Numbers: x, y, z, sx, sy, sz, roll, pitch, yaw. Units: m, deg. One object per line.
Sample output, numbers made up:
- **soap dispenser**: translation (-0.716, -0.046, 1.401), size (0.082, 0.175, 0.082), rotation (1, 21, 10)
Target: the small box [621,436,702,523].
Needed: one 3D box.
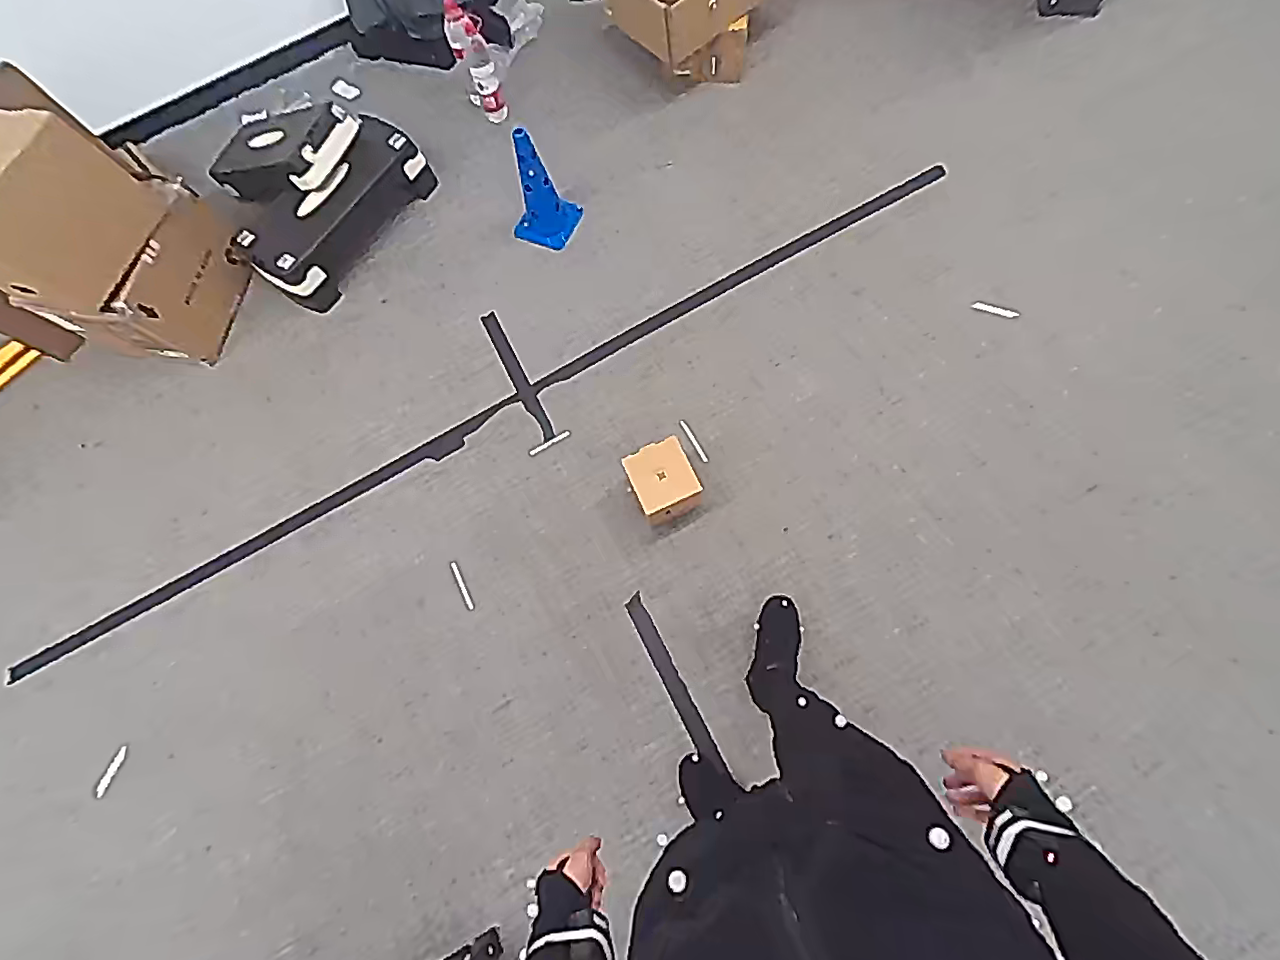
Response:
- **small box**: translation (0.065, 0.009, 1.516), size (0.168, 0.176, 0.179), rotation (-25, 72, -2)
